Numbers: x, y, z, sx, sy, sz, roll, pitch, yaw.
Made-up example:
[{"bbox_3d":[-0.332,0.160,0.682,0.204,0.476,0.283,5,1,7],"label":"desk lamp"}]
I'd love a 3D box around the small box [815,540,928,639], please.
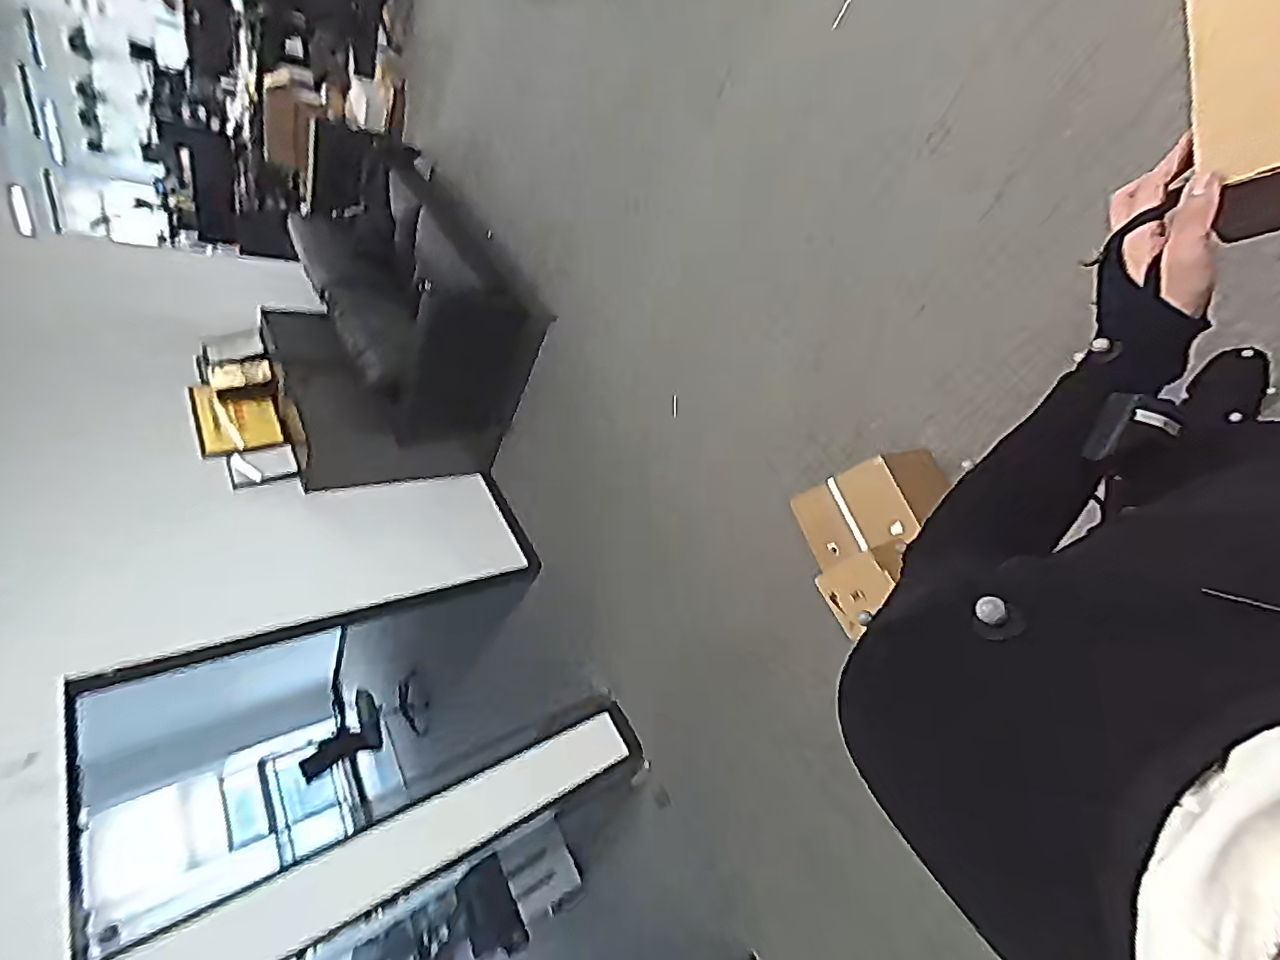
[{"bbox_3d":[0.574,0.262,1.326,0.179,0.176,0.168,-46,62,40],"label":"small box"}]

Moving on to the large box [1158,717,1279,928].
[{"bbox_3d":[1.269,0.720,0.994,0.408,0.320,0.320,18,110,45],"label":"large box"}]

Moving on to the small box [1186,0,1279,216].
[{"bbox_3d":[0.521,-0.312,0.388,0.168,0.176,0.179,-1,92,51],"label":"small box"}]
